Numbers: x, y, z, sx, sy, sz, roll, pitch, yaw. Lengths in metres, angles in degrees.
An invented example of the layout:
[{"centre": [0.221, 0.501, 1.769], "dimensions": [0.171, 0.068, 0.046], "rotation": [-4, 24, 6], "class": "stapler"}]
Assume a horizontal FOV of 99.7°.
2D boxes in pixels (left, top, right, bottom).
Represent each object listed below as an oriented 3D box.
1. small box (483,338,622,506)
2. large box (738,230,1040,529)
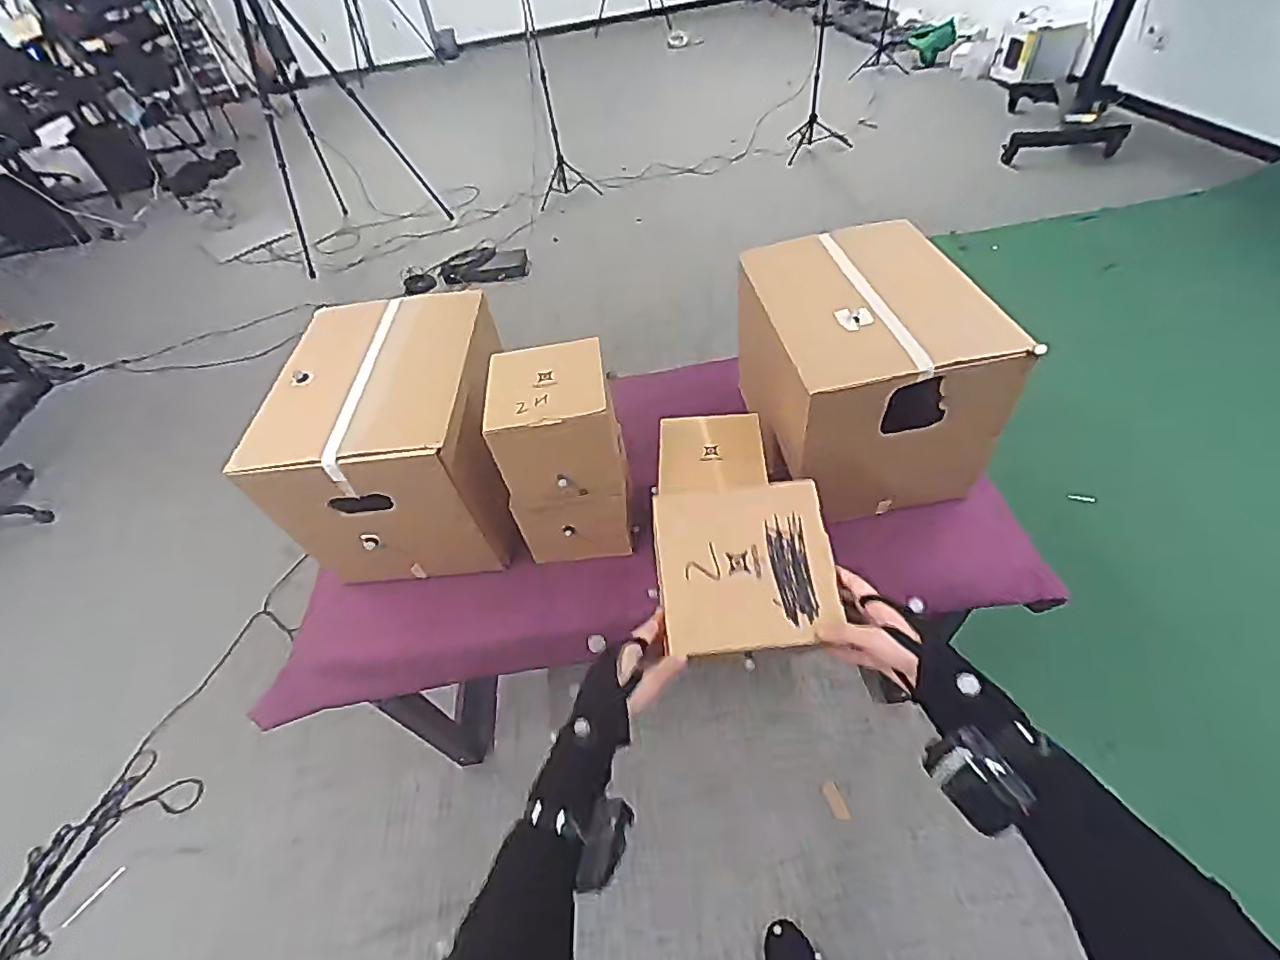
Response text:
[{"centre": [-0.123, -0.085, 0.816], "dimensions": [0.168, 0.176, 0.179], "rotation": [-9, 48, 1], "class": "small box"}, {"centre": [0.372, -0.180, 0.955], "dimensions": [0.320, 0.320, 0.408], "rotation": [-11, 49, 2], "class": "large box"}]
